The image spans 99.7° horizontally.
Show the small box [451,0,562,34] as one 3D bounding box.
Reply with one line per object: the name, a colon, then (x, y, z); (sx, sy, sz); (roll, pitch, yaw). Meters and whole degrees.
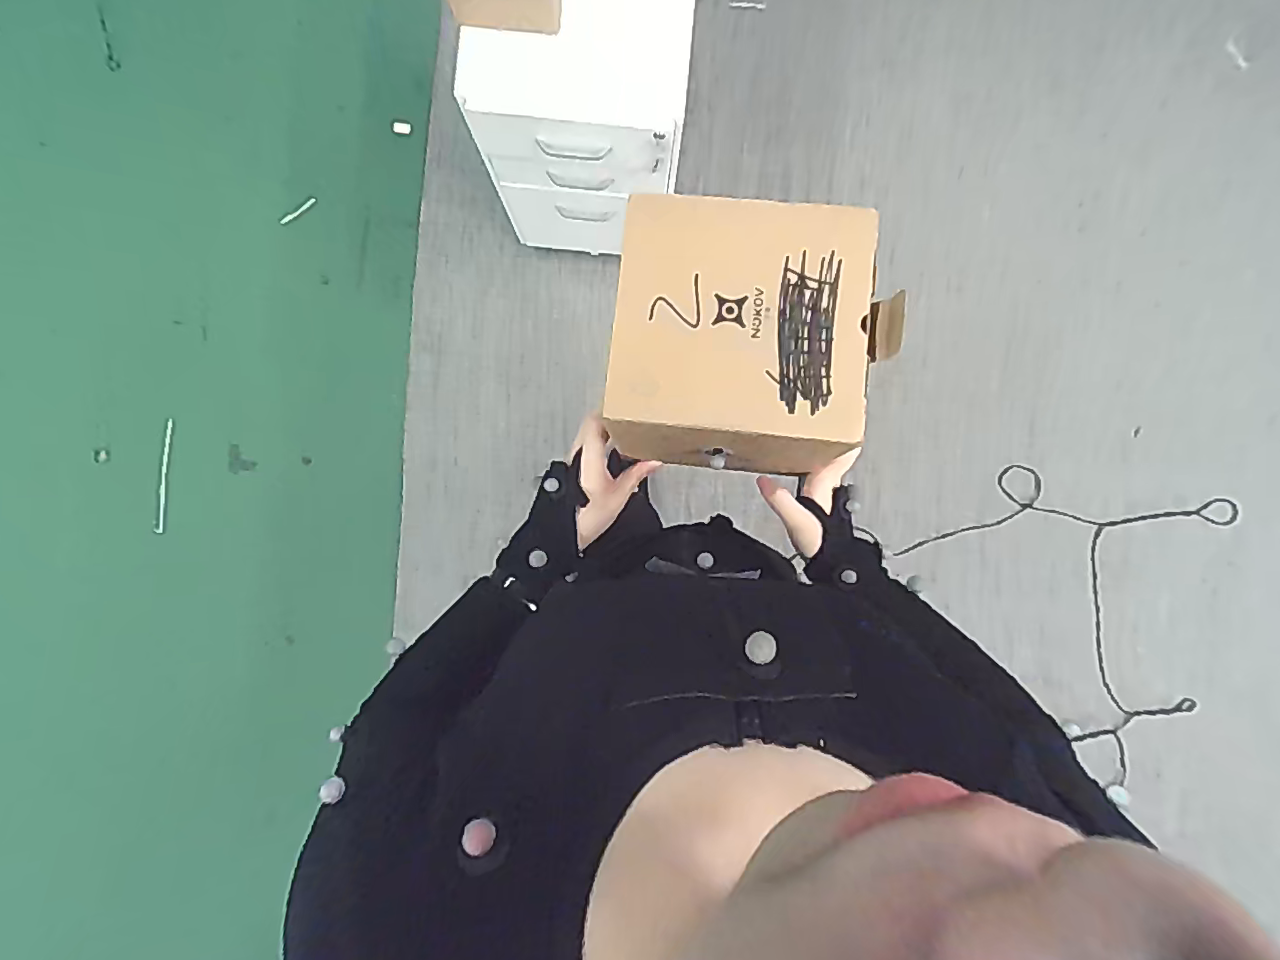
small box: (-0.218, -0.849, 0.845); (0.179, 0.176, 0.168); (4, 88, -2)
